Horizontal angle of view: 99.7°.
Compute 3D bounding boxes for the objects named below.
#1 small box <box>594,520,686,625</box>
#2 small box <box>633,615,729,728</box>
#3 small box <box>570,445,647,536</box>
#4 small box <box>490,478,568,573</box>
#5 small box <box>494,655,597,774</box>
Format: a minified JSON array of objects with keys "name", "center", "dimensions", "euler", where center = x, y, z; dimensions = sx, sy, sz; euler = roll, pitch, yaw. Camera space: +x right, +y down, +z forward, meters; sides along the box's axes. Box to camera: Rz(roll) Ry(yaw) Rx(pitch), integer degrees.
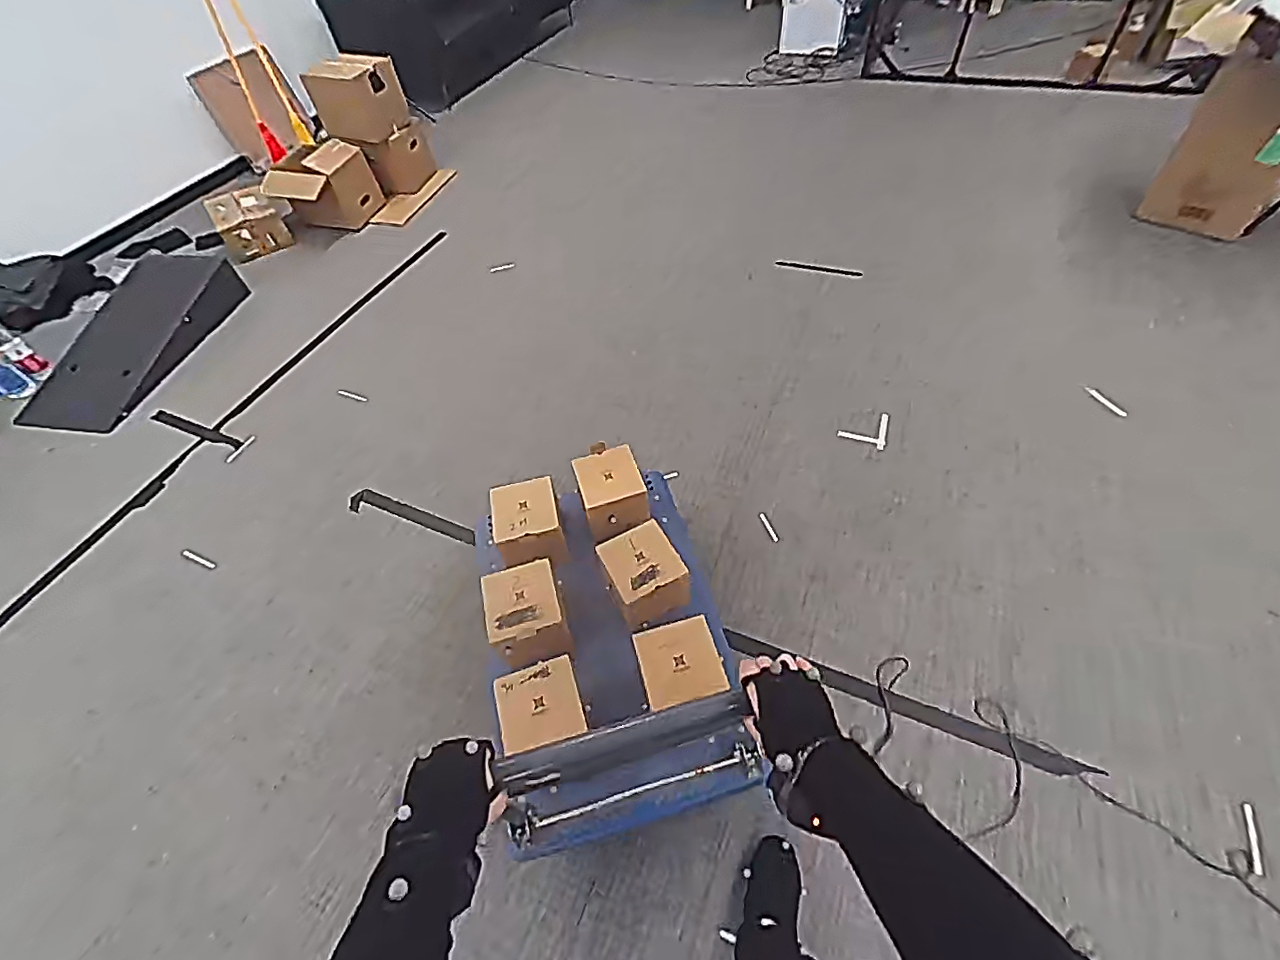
[{"name":"small box","center":[0.005,0.237,1.345],"dimensions":[0.168,0.176,0.179],"euler":[-25,54,-14]},{"name":"small box","center":[0.088,0.428,1.192],"dimensions":[0.168,0.176,0.179],"euler":[-14,52,-7]},{"name":"small box","center":[-0.085,0.038,1.507],"dimensions":[0.168,0.176,0.179],"euler":[-18,53,-8]},{"name":"small box","center":[-0.298,0.124,1.457],"dimensions":[0.168,0.176,0.179],"euler":[-13,53,-5]},{"name":"small box","center":[-0.197,0.507,1.153],"dimensions":[0.168,0.176,0.179],"euler":[-17,53,-9]}]
